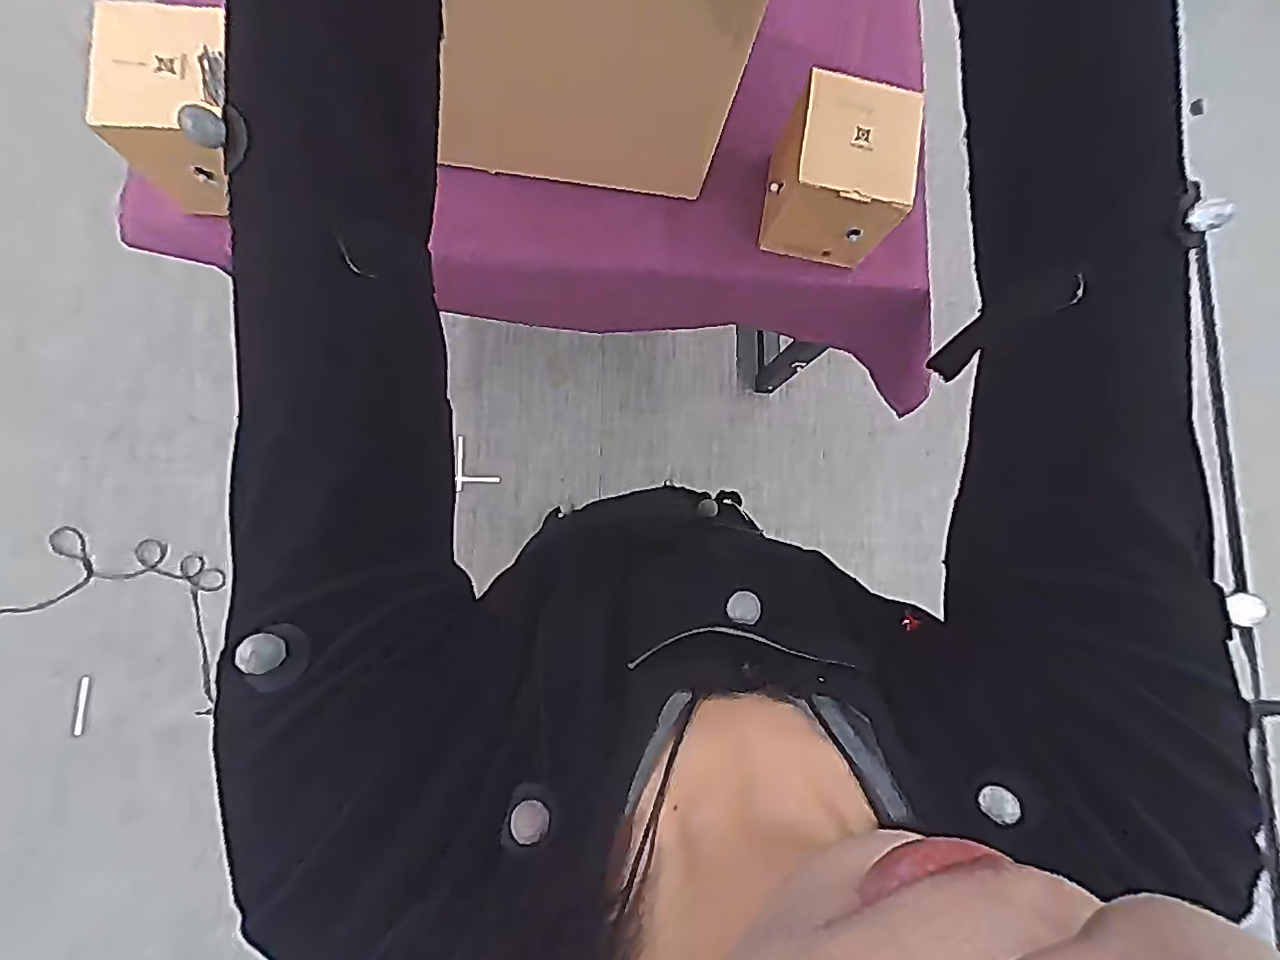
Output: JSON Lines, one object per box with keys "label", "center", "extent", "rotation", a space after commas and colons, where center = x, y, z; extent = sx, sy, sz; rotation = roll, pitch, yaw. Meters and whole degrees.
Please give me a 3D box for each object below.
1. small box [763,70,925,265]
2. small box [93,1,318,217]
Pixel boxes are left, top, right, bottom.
{"label": "small box", "center": [0.294, -0.452, 0.811], "extent": [0.168, 0.176, 0.179], "rotation": [9, 81, -6]}
{"label": "small box", "center": [-0.550, -0.472, 0.713], "extent": [0.179, 0.176, 0.168], "rotation": [-2, 82, -8]}
